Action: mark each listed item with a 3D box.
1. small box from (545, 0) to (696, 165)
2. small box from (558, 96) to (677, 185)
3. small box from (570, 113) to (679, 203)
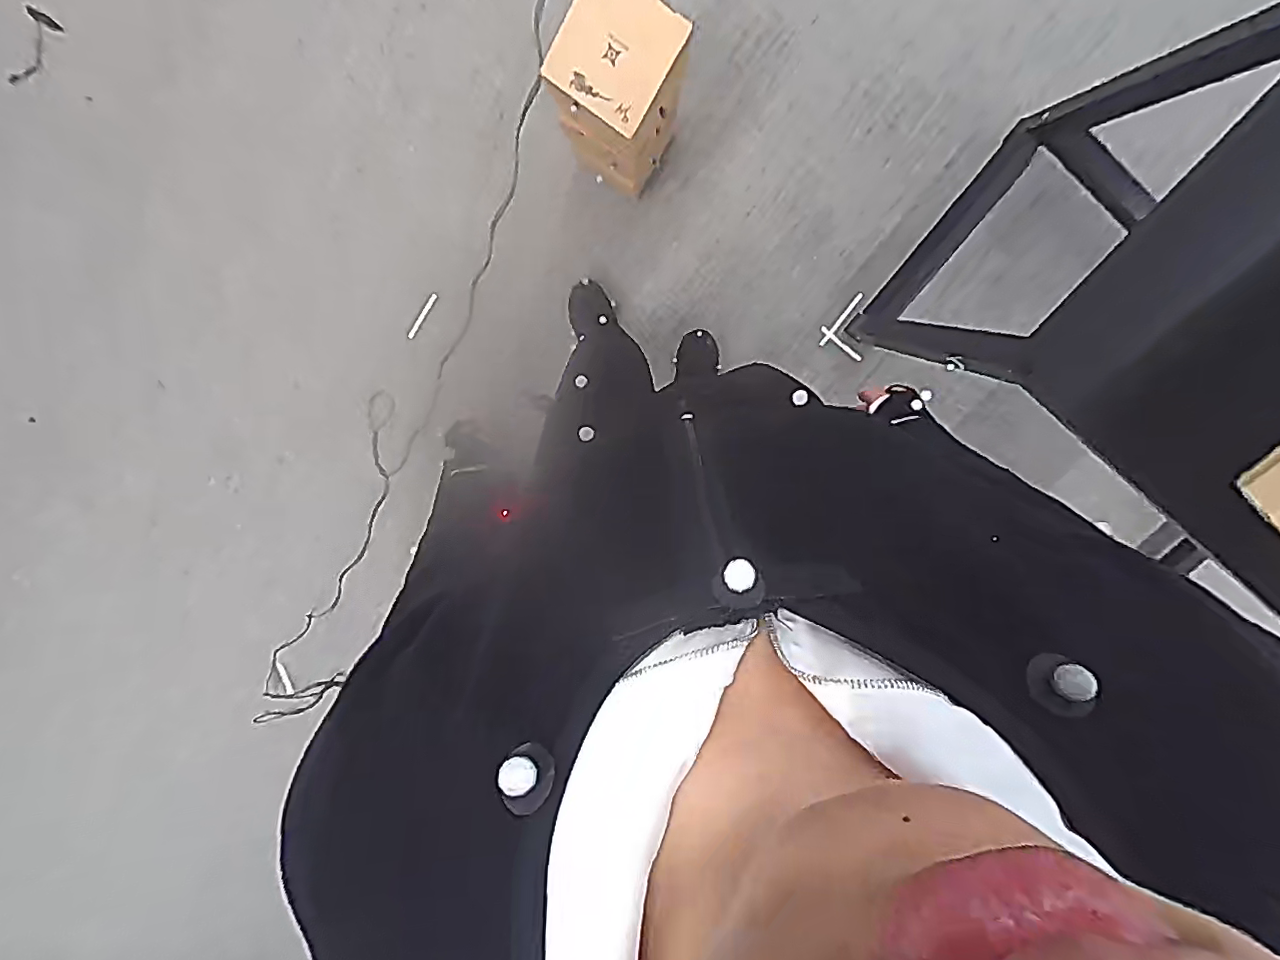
[{"bbox_3d":[-0.032,-0.655,0.878,0.168,0.176,0.179,32,106,-9],"label":"small box"},{"bbox_3d":[-0.035,-0.700,1.036,0.168,0.176,0.179,29,106,-9],"label":"small box"},{"bbox_3d":[-0.033,-0.747,1.192,0.168,0.176,0.179,32,107,-9],"label":"small box"}]
